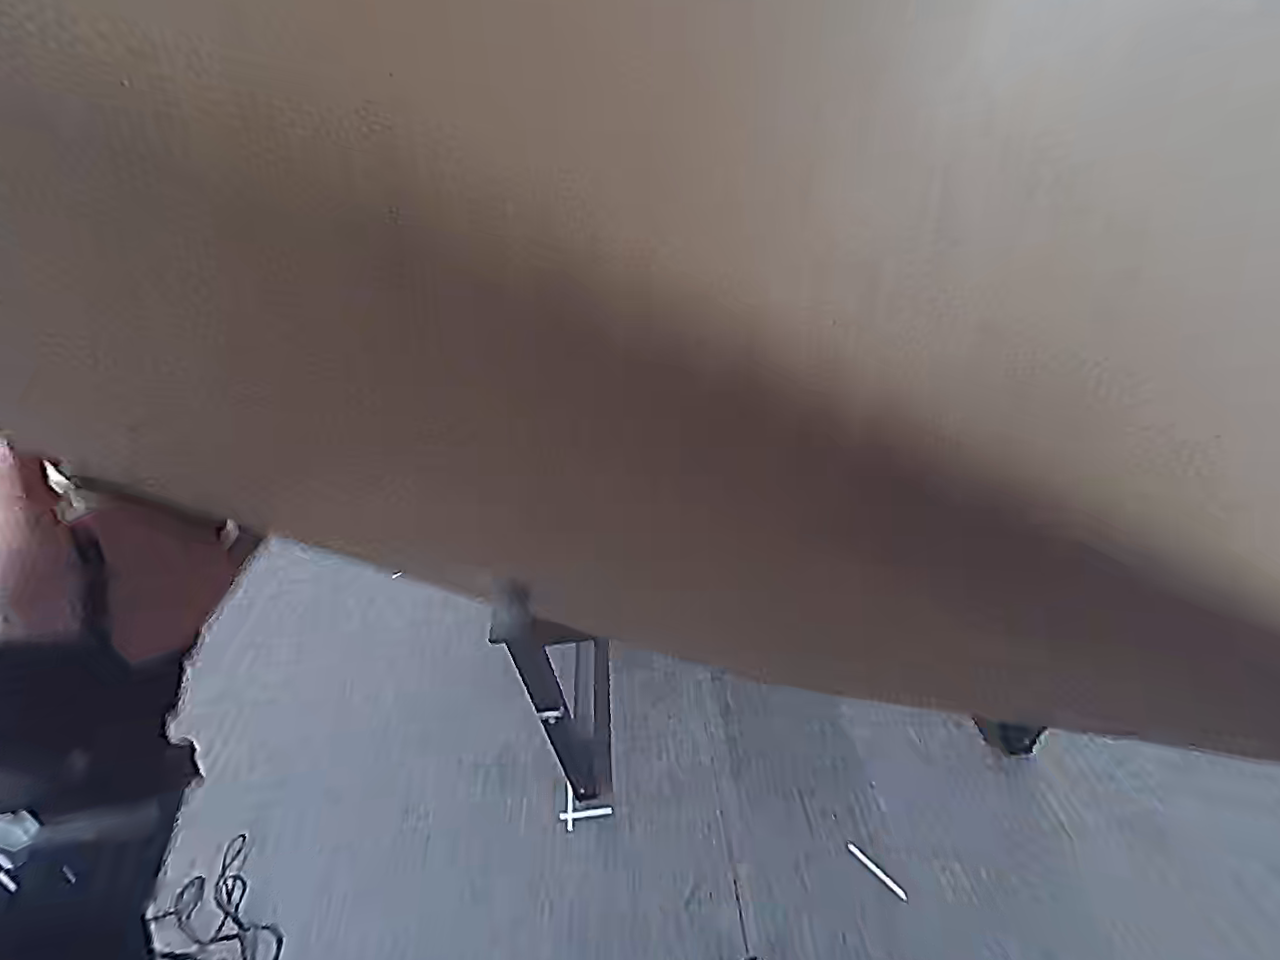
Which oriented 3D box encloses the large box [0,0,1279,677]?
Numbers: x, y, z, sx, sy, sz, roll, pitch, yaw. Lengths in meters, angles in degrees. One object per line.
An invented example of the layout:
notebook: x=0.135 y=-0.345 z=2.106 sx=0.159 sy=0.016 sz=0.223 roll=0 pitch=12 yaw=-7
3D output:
large box: x=-0.002 y=-0.124 z=0.230 sx=0.408 sy=0.320 sz=0.320 roll=21 pitch=68 yaw=-15
